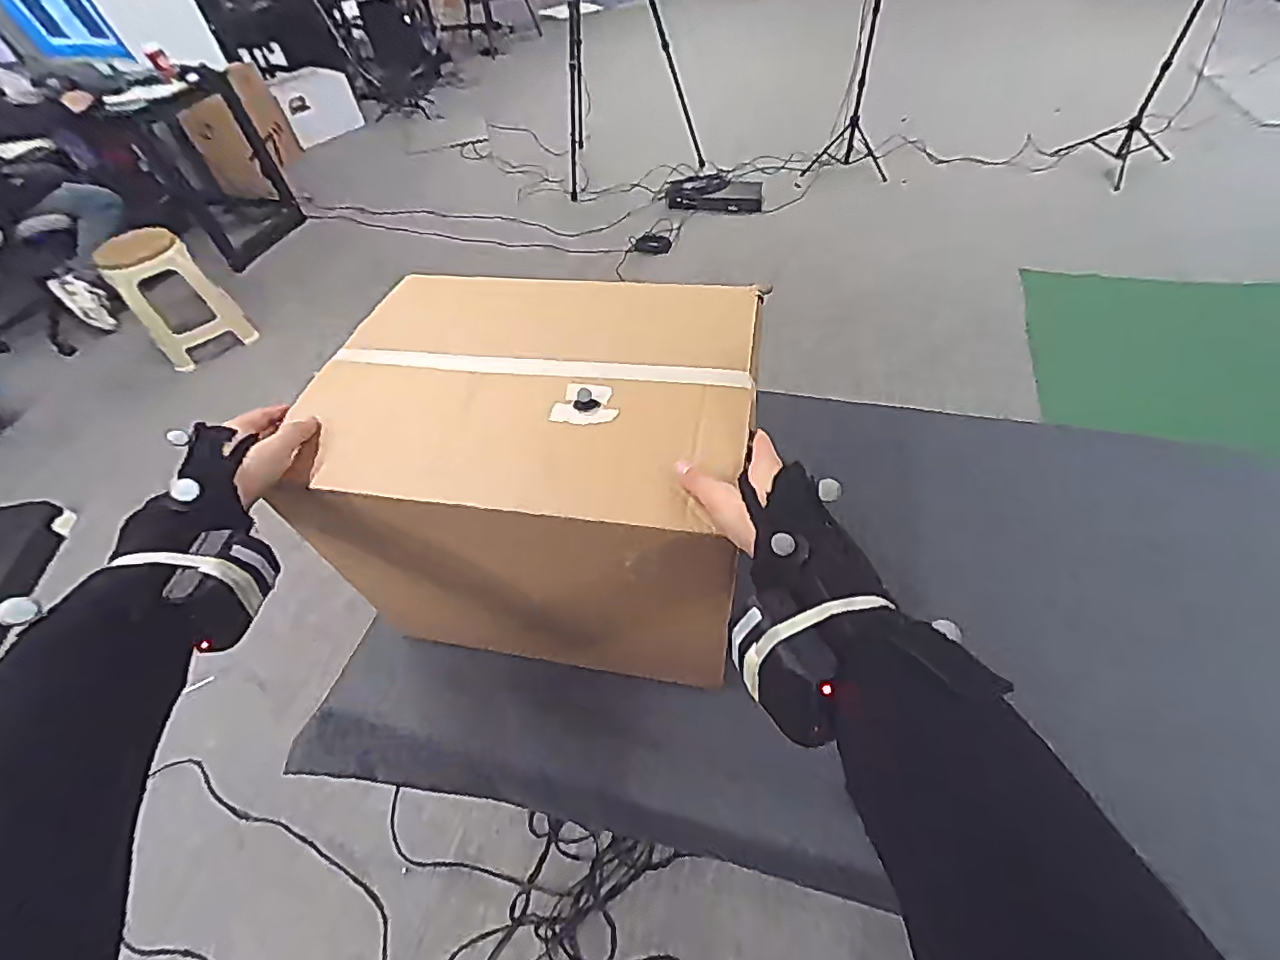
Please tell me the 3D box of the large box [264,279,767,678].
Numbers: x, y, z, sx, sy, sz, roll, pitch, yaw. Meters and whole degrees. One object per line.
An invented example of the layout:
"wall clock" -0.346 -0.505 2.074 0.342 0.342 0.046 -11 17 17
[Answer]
"large box" -0.082 -0.004 0.617 0.408 0.320 0.320 6 52 9
